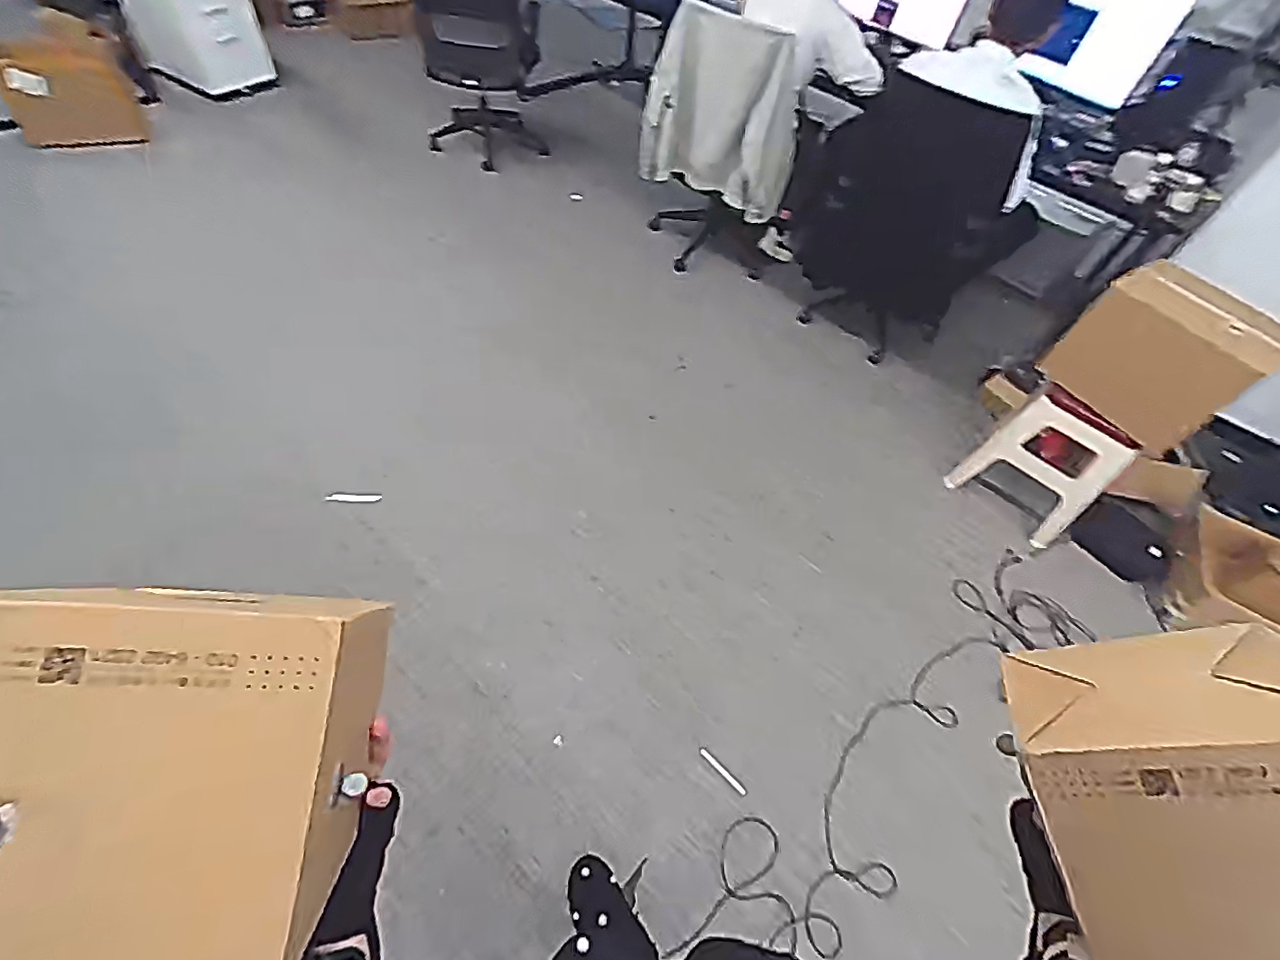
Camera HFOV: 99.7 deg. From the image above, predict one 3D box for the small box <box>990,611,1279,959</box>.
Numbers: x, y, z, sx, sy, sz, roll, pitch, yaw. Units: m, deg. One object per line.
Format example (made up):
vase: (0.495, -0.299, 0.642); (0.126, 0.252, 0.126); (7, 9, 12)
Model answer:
small box: (0.350, 0.197, 0.349); (0.179, 0.168, 0.176); (-9, 79, -60)

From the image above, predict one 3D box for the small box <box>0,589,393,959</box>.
small box: (-0.251, 0.151, 0.307); (0.168, 0.179, 0.176); (8, 78, -15)
